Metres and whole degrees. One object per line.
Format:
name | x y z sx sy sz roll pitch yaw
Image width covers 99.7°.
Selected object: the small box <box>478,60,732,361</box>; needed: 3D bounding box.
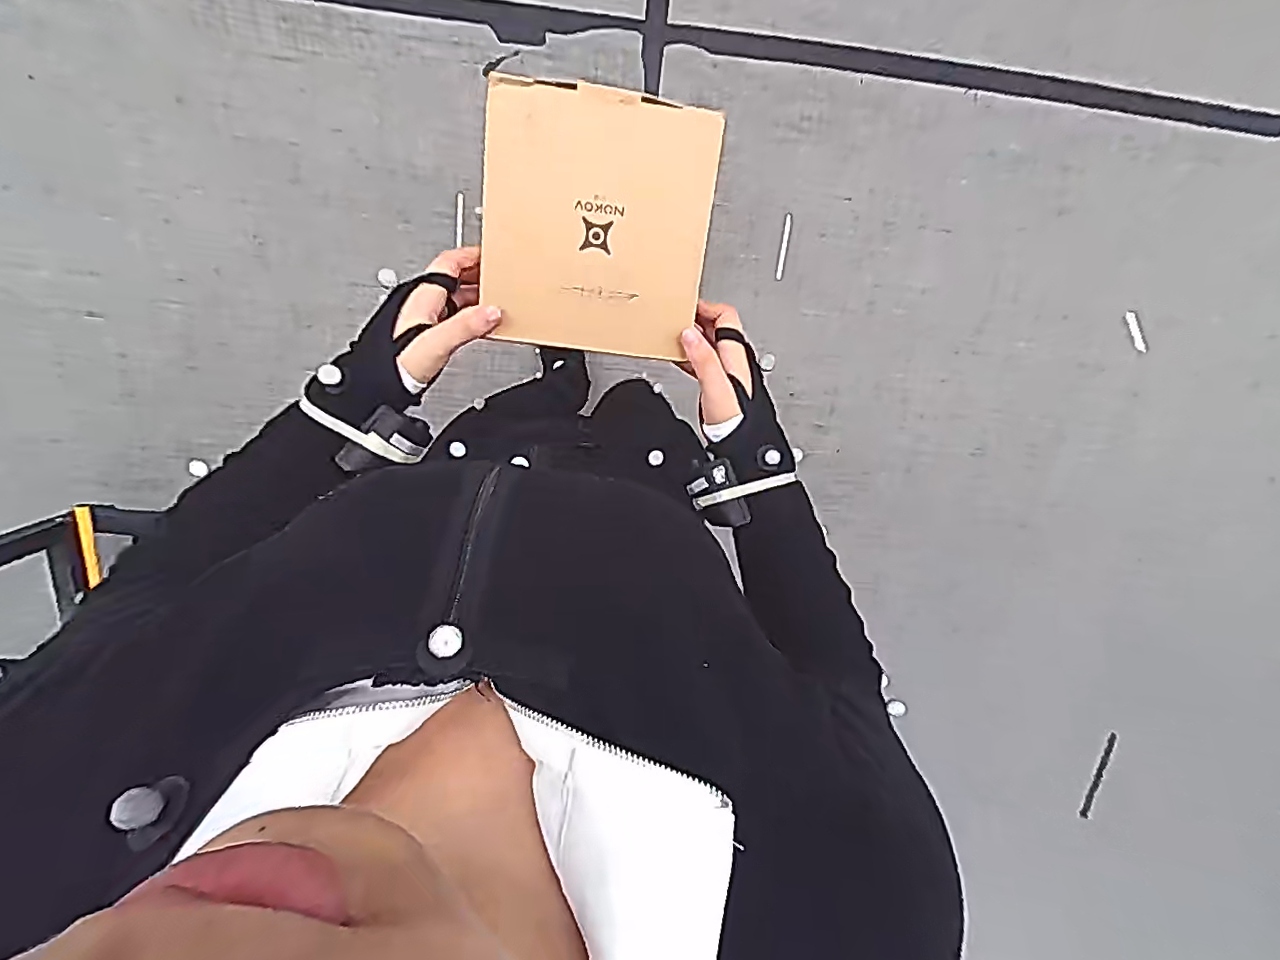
small box | -0.035 -0.209 0.463 0.168 0.176 0.179 7 108 -7
